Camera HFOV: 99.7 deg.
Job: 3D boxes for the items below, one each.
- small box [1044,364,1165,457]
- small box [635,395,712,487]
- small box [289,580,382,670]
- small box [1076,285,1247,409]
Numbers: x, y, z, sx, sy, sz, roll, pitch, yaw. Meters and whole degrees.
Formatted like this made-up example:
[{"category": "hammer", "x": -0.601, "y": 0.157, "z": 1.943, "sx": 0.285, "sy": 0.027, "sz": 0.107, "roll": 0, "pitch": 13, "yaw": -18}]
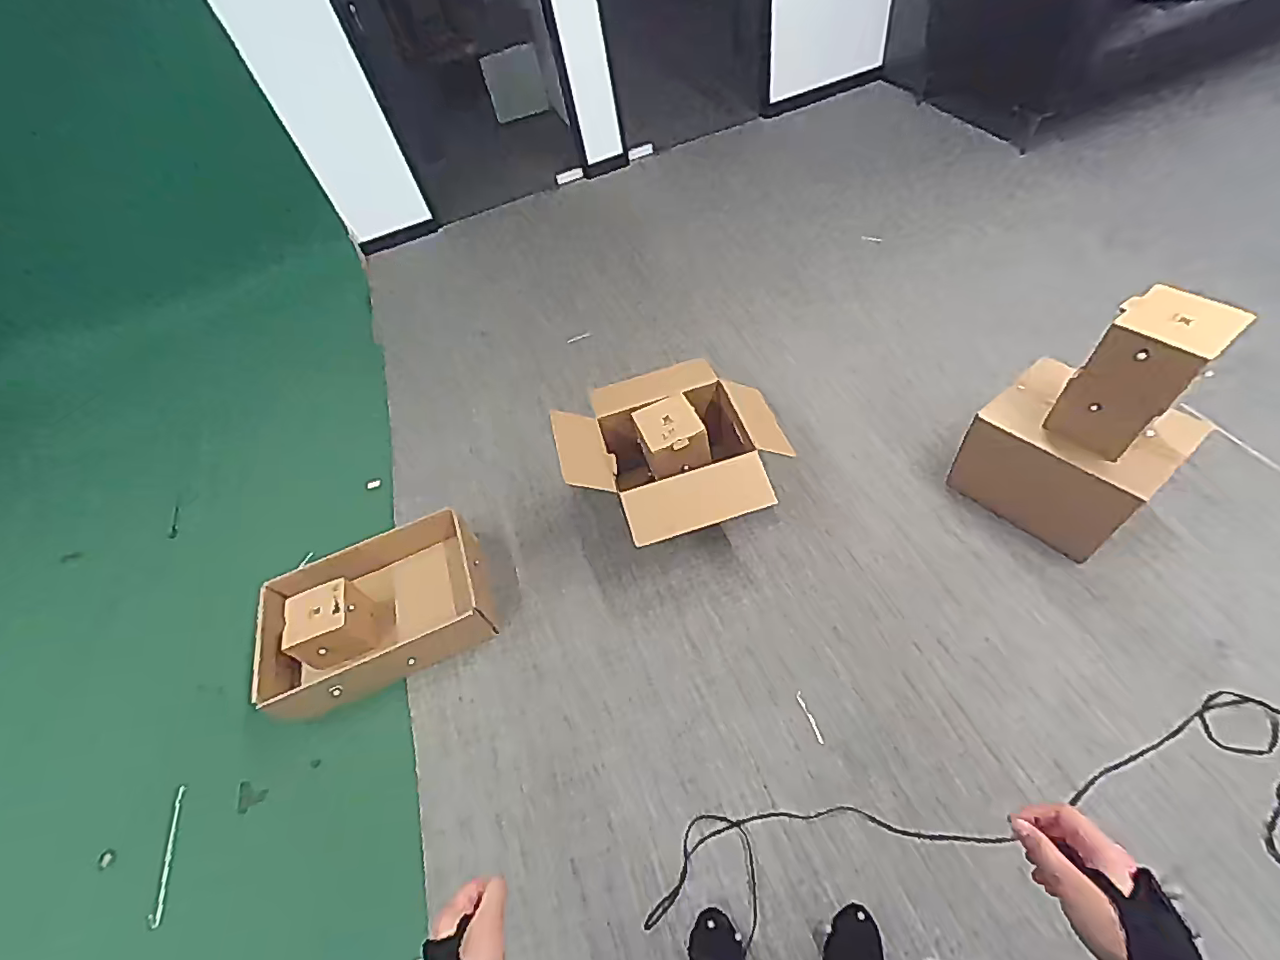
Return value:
[{"category": "small box", "x": 1.120, "y": -0.187, "z": 1.289, "sx": 0.168, "sy": 0.176, "sz": 0.179, "roll": -37, "pitch": 55, "yaw": -14}, {"category": "small box", "x": 0.101, "y": -0.113, "z": 1.607, "sx": 0.168, "sy": 0.176, "sz": 0.179, "roll": -24, "pitch": 52, "yaw": -3}, {"category": "small box", "x": -0.882, "y": 0.428, "z": 1.579, "sx": 0.179, "sy": 0.176, "sz": 0.168, "roll": -22, "pitch": 50, "yaw": -5}, {"category": "small box", "x": 1.097, "y": -0.276, "z": 1.155, "sx": 0.168, "sy": 0.176, "sz": 0.179, "roll": -37, "pitch": 54, "yaw": -14}]
